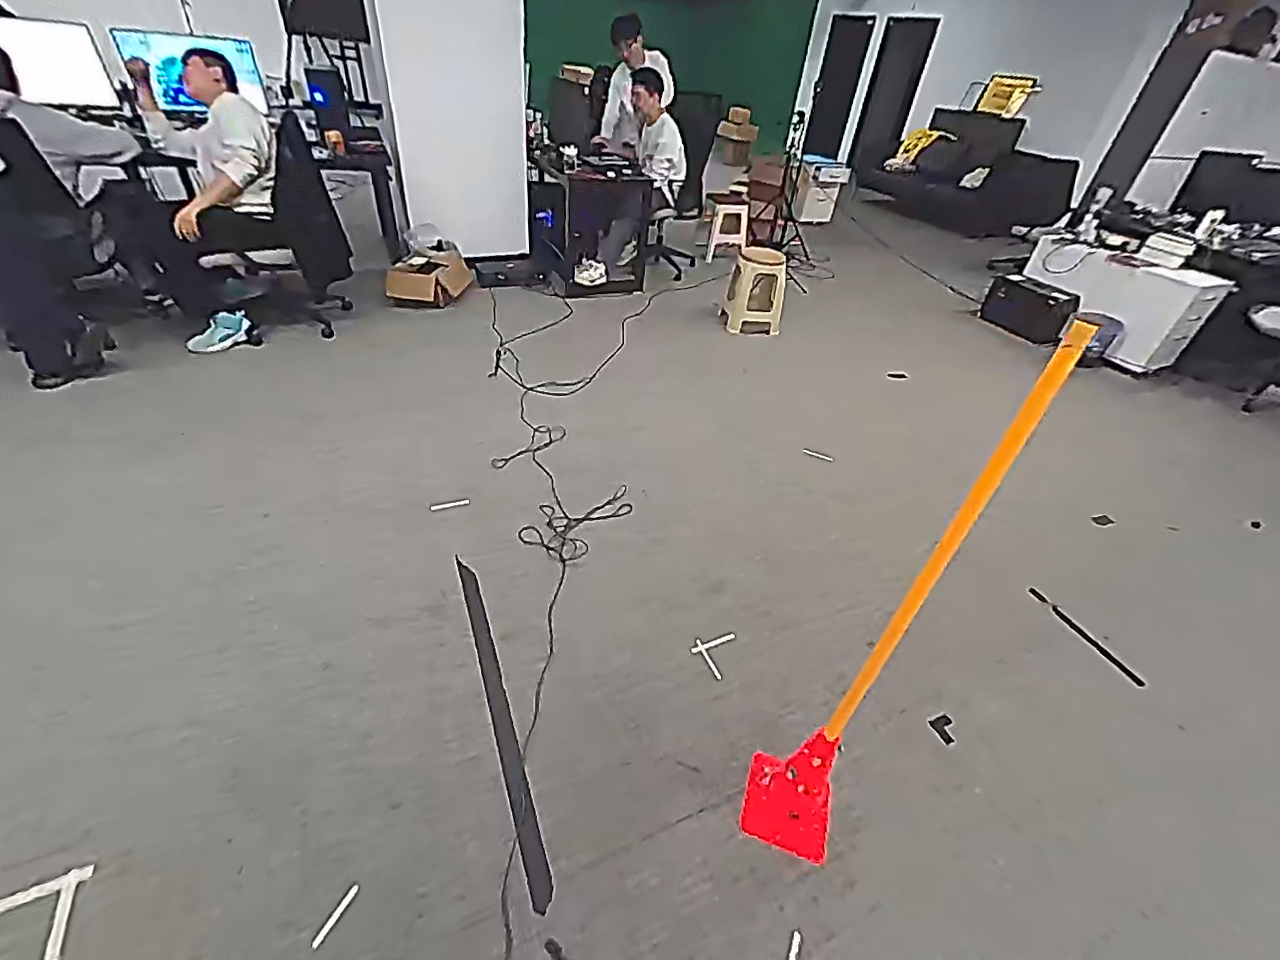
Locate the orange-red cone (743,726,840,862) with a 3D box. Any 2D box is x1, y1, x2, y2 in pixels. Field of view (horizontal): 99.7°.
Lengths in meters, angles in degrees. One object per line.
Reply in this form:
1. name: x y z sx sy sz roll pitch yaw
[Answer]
1. orange-red cone: 0.369 0.645 1.186 0.198 0.360 0.199 17 41 14
